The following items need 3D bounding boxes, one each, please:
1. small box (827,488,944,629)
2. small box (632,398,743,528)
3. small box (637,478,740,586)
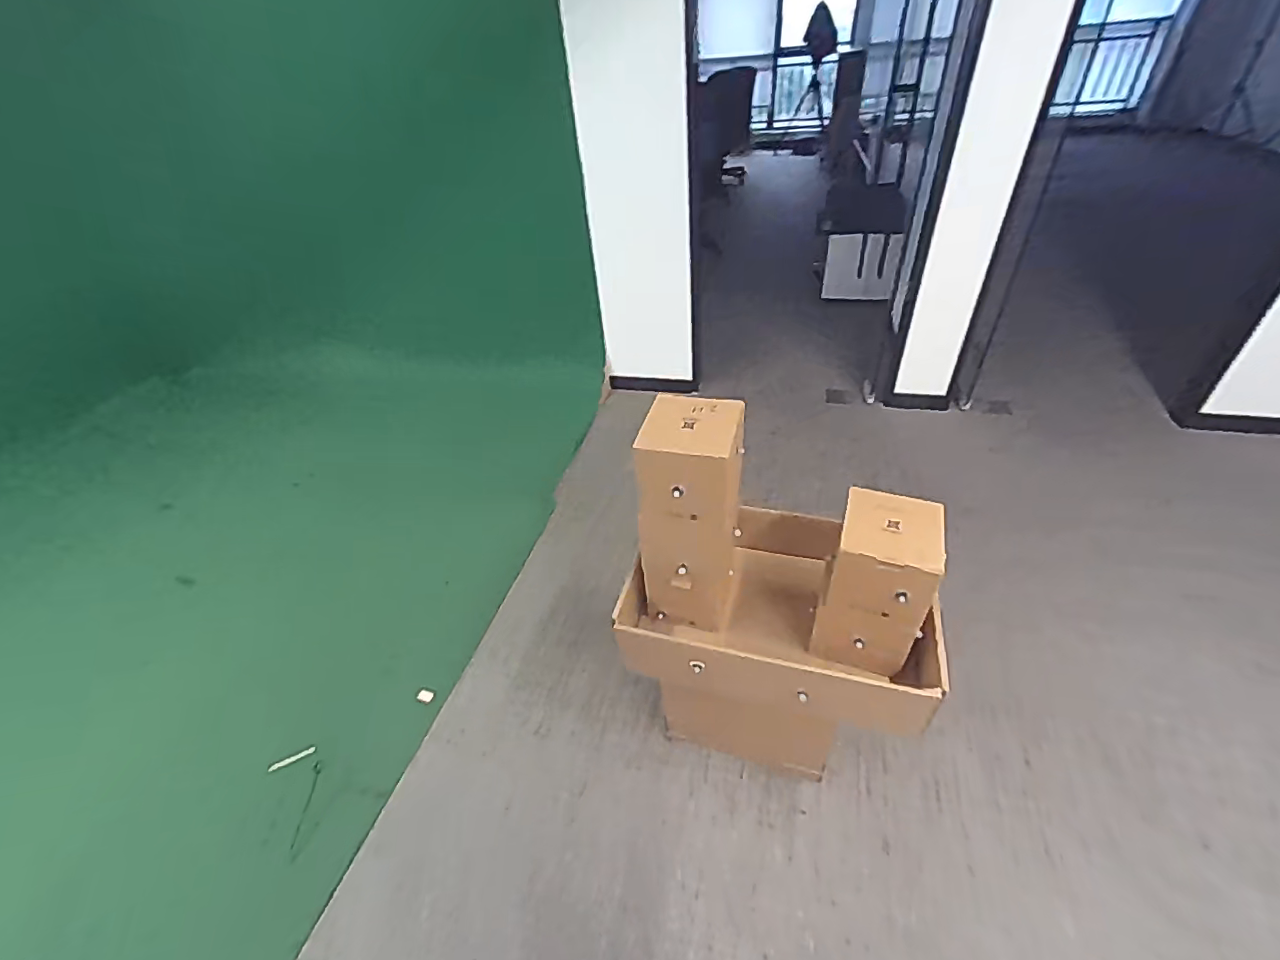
[{"bbox_3d":[0.452,0.146,1.003,0.168,0.176,0.179,12,42,20],"label":"small box"},{"bbox_3d":[0.095,-0.032,1.006,0.168,0.176,0.179,8,41,16],"label":"small box"},{"bbox_3d":[0.105,0.096,1.111,0.179,0.176,0.168,7,41,15],"label":"small box"}]
